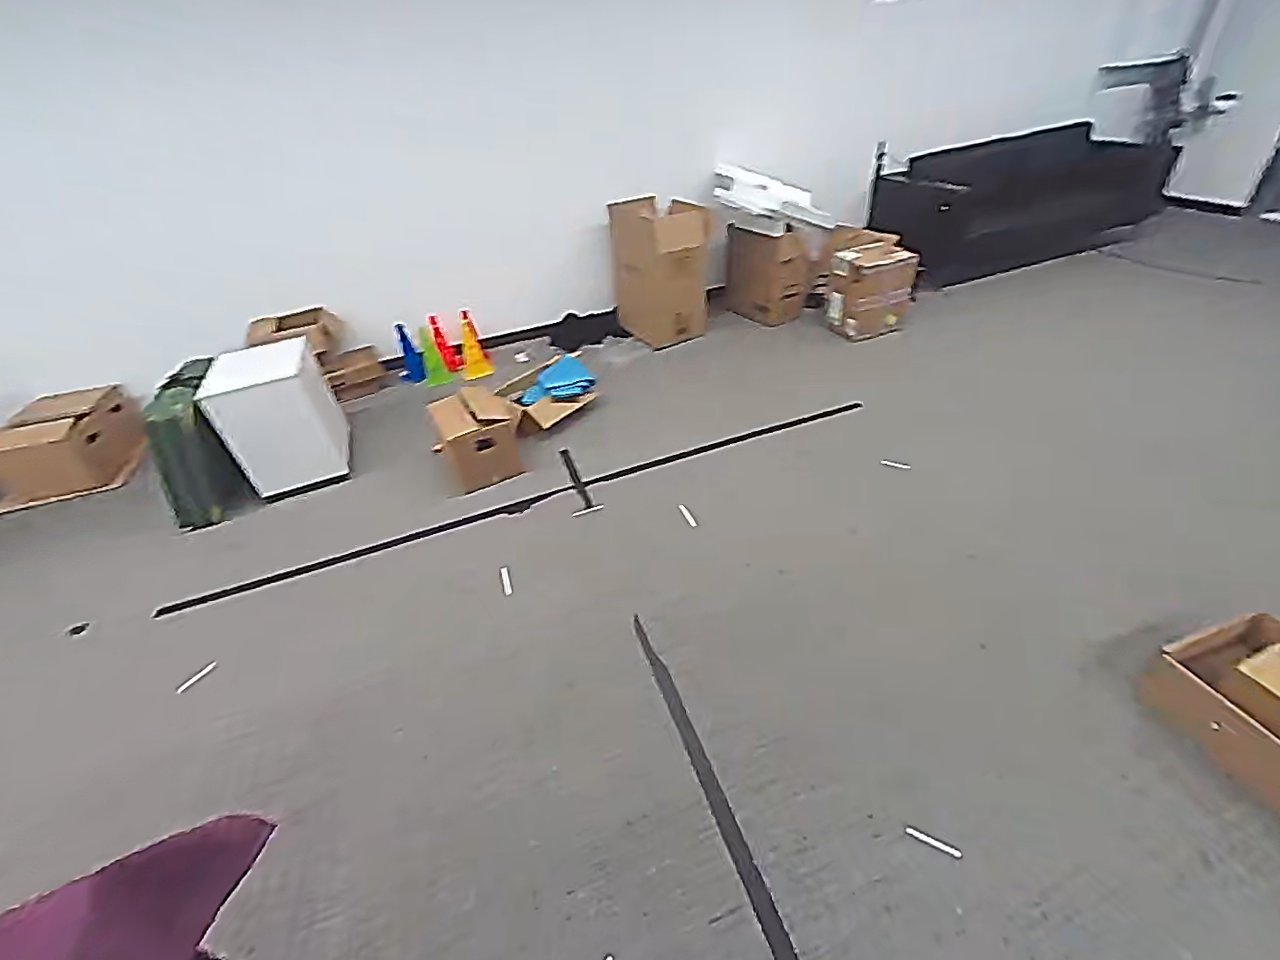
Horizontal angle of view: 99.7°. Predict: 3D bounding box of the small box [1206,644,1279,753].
[{"bbox_3d":[1.637,0.560,1.390,0.179,0.176,0.168,-17,39,-14],"label":"small box"}]
